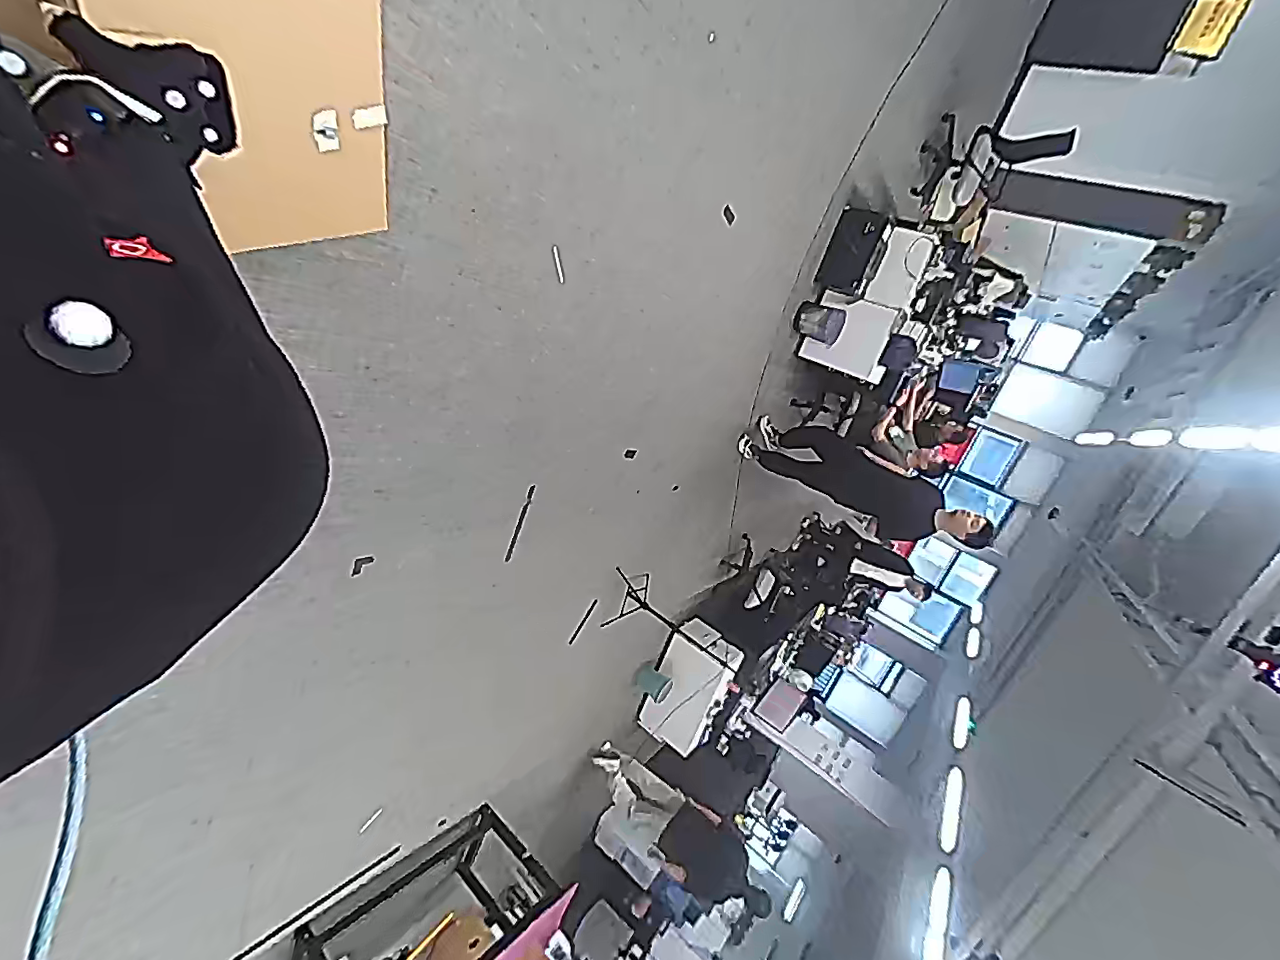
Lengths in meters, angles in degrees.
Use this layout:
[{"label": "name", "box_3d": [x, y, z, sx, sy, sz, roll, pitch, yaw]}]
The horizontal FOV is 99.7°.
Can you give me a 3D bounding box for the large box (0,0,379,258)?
[{"label": "large box", "box_3d": [-0.596, -0.522, 0.663, 0.320, 0.408, 0.320, -44, 159, -48]}]
